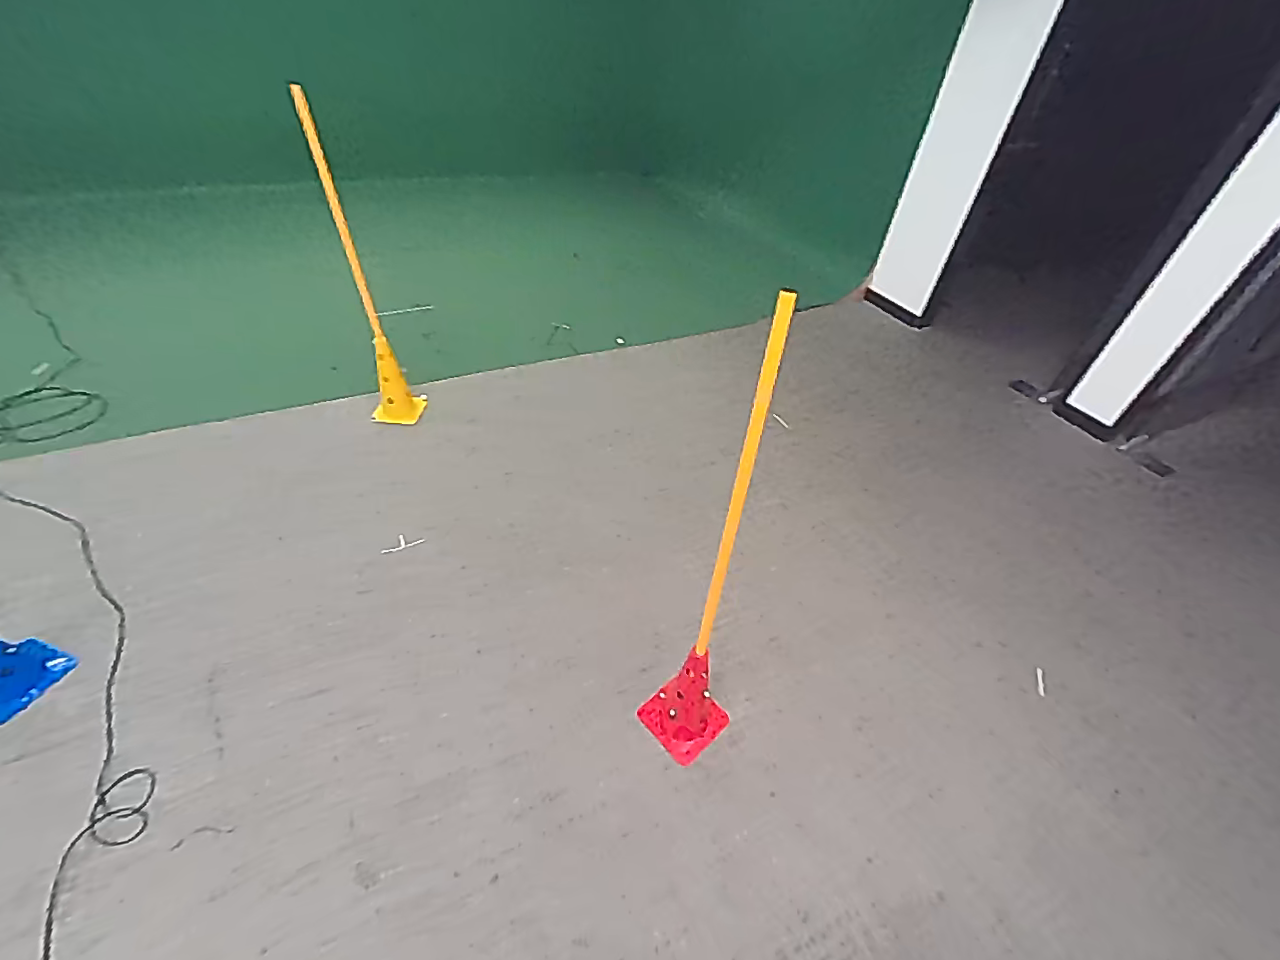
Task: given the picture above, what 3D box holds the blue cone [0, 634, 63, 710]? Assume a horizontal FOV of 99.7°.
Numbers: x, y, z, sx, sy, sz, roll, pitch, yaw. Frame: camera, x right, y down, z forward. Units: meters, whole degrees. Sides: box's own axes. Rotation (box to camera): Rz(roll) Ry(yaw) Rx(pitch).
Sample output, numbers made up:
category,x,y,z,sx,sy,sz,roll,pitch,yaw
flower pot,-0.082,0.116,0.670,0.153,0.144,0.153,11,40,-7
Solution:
category,x,y,z,sx,sy,sz,roll,pitch,yaw
blue cone,-1.682,0.403,1.333,0.192,0.380,0.193,17,47,10
